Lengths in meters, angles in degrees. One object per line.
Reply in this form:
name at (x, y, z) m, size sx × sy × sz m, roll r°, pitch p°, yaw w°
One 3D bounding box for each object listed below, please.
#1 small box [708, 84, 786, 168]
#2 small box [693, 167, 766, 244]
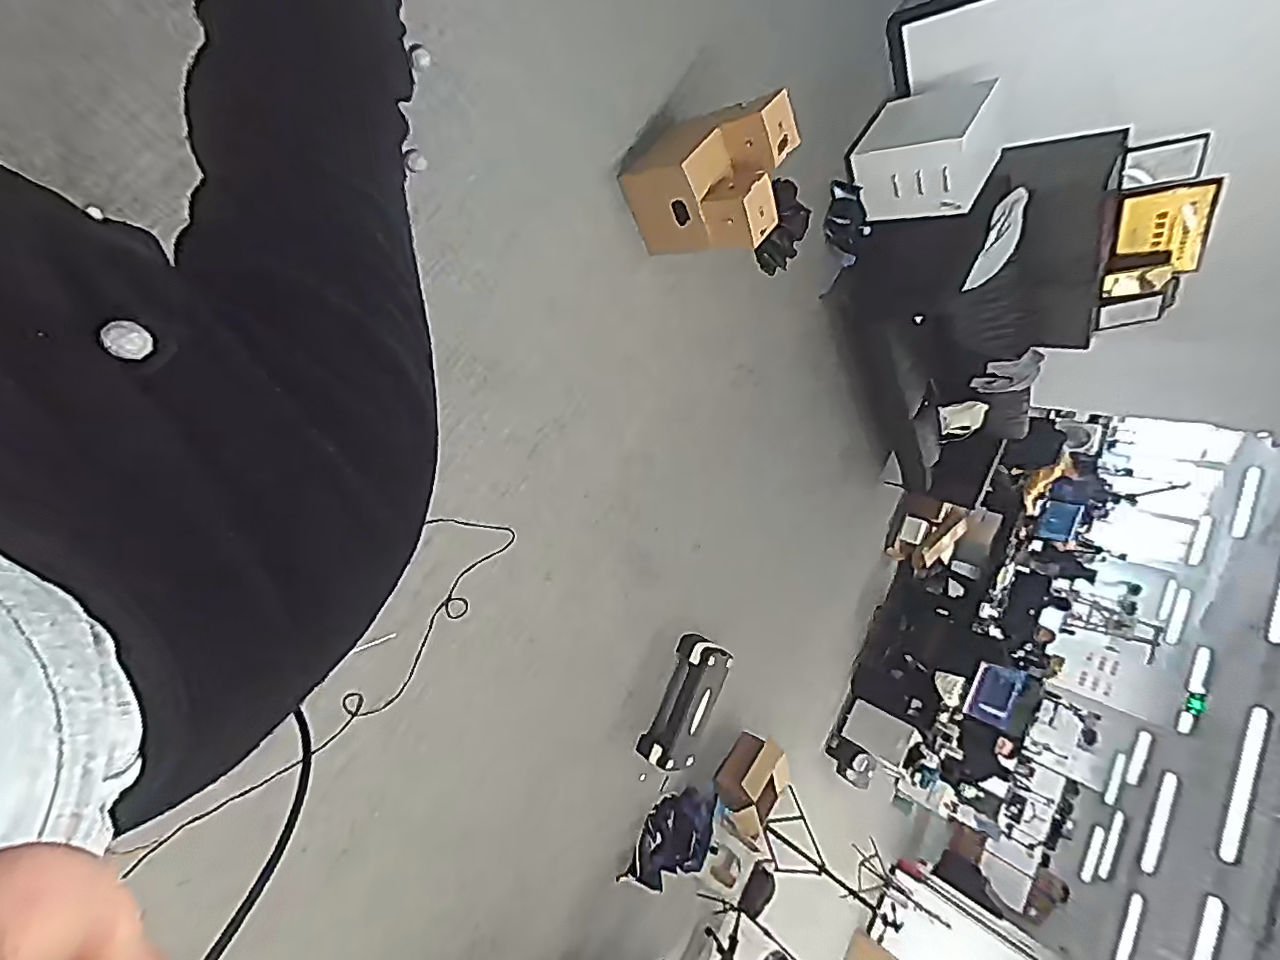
small box at (0.360, -1.183, 1.822) m, size 0.168 × 0.176 × 0.179 m, roll -53°, pitch 132°, yaw -22°
small box at (0.303, -0.927, 1.842) m, size 0.168 × 0.176 × 0.179 m, roll -54°, pitch 137°, yaw -22°
